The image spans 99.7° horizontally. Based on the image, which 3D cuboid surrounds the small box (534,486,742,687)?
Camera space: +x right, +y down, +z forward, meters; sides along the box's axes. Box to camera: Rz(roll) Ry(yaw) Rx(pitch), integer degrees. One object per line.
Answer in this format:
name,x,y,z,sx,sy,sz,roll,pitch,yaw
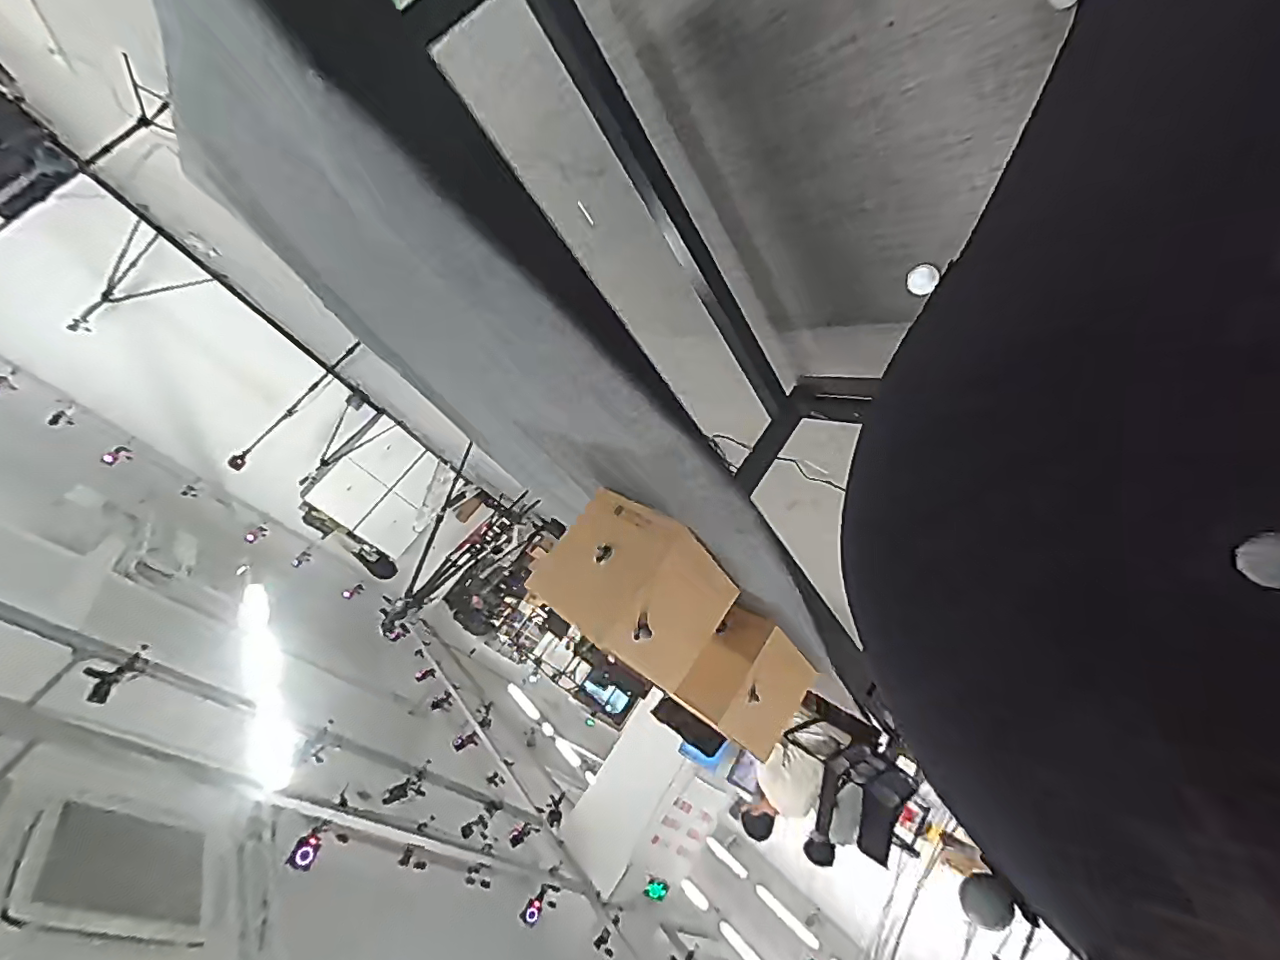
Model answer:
small box,0.002,0.132,0.712,0.168,0.176,0.179,23,160,47
